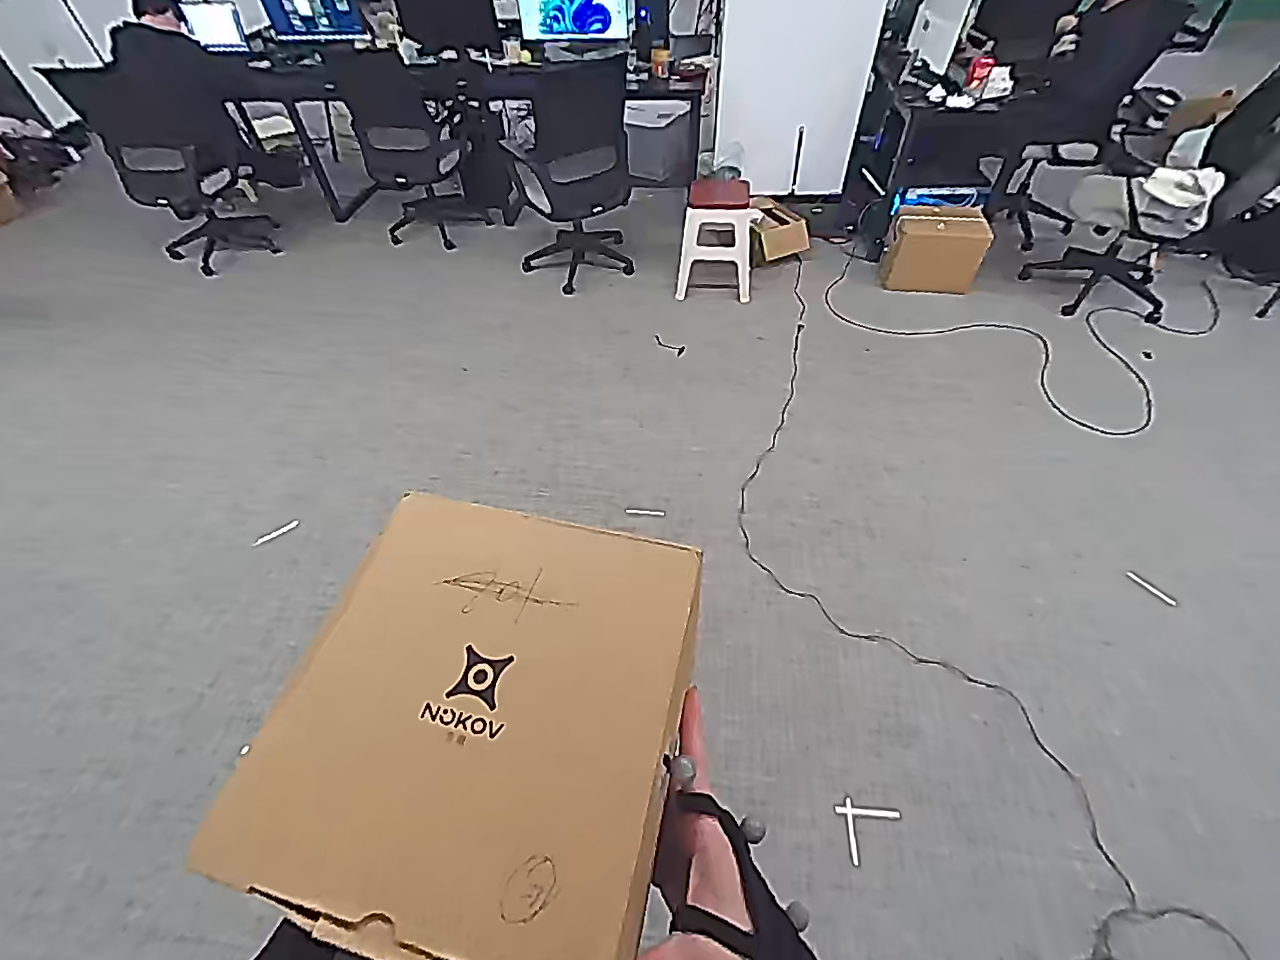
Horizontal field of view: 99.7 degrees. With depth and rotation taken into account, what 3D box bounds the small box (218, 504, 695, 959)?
[{"bbox_3d":[-0.066,0.142,0.311,0.168,0.176,0.179,11,55,10],"label":"small box"}]
